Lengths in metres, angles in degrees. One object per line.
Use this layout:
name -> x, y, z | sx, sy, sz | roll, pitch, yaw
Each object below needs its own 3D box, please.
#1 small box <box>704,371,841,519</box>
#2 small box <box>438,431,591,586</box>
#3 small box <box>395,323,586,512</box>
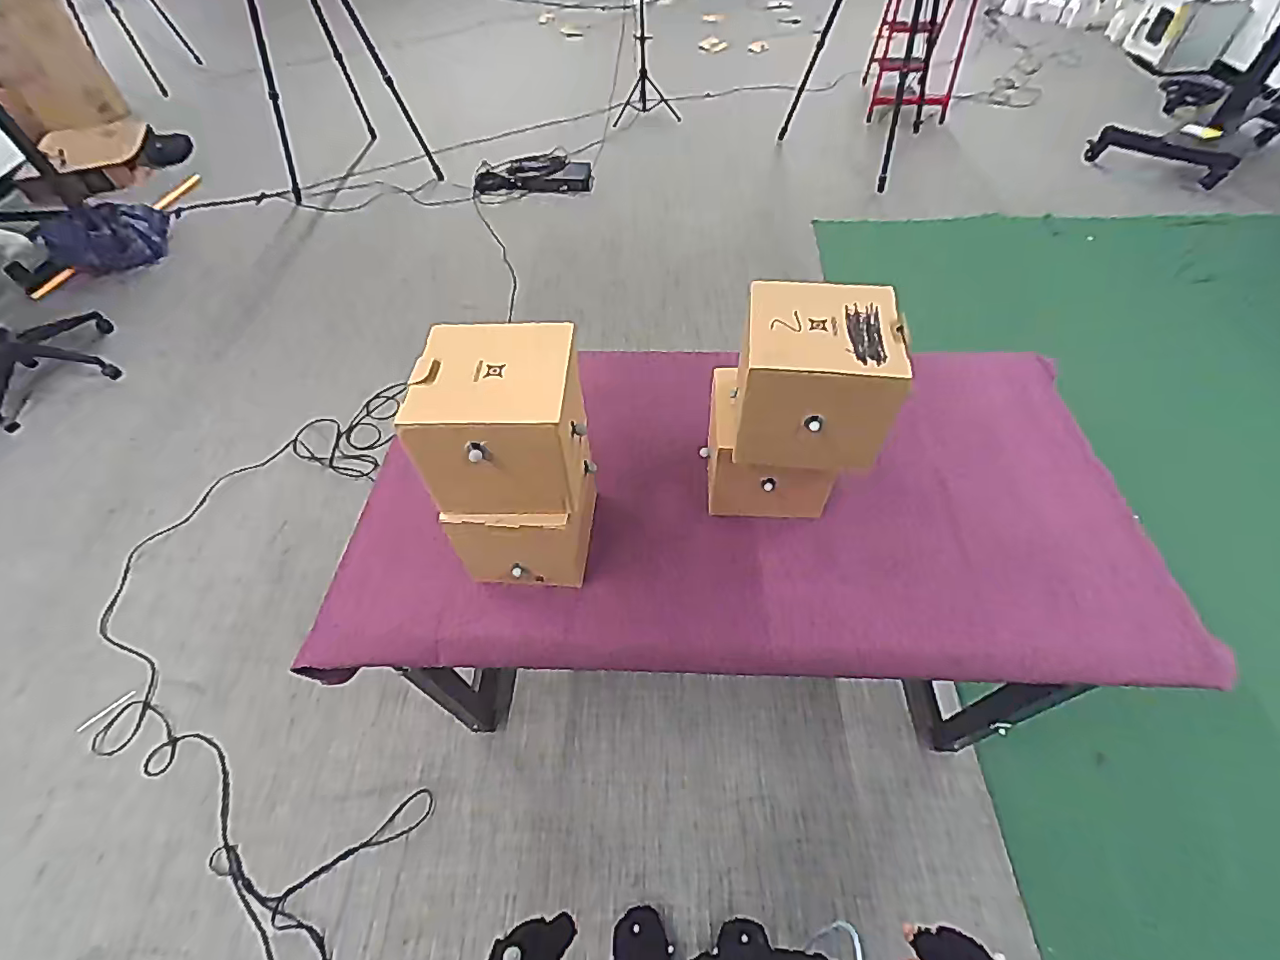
small box -> 0.195, -0.051, 0.848 | 0.179, 0.176, 0.168 | 2, 54, 4
small box -> -0.167, 0.034, 0.791 | 0.168, 0.176, 0.179 | 4, 53, 4
small box -> -0.164, -0.072, 0.668 | 0.179, 0.176, 0.168 | 0, 53, 2
